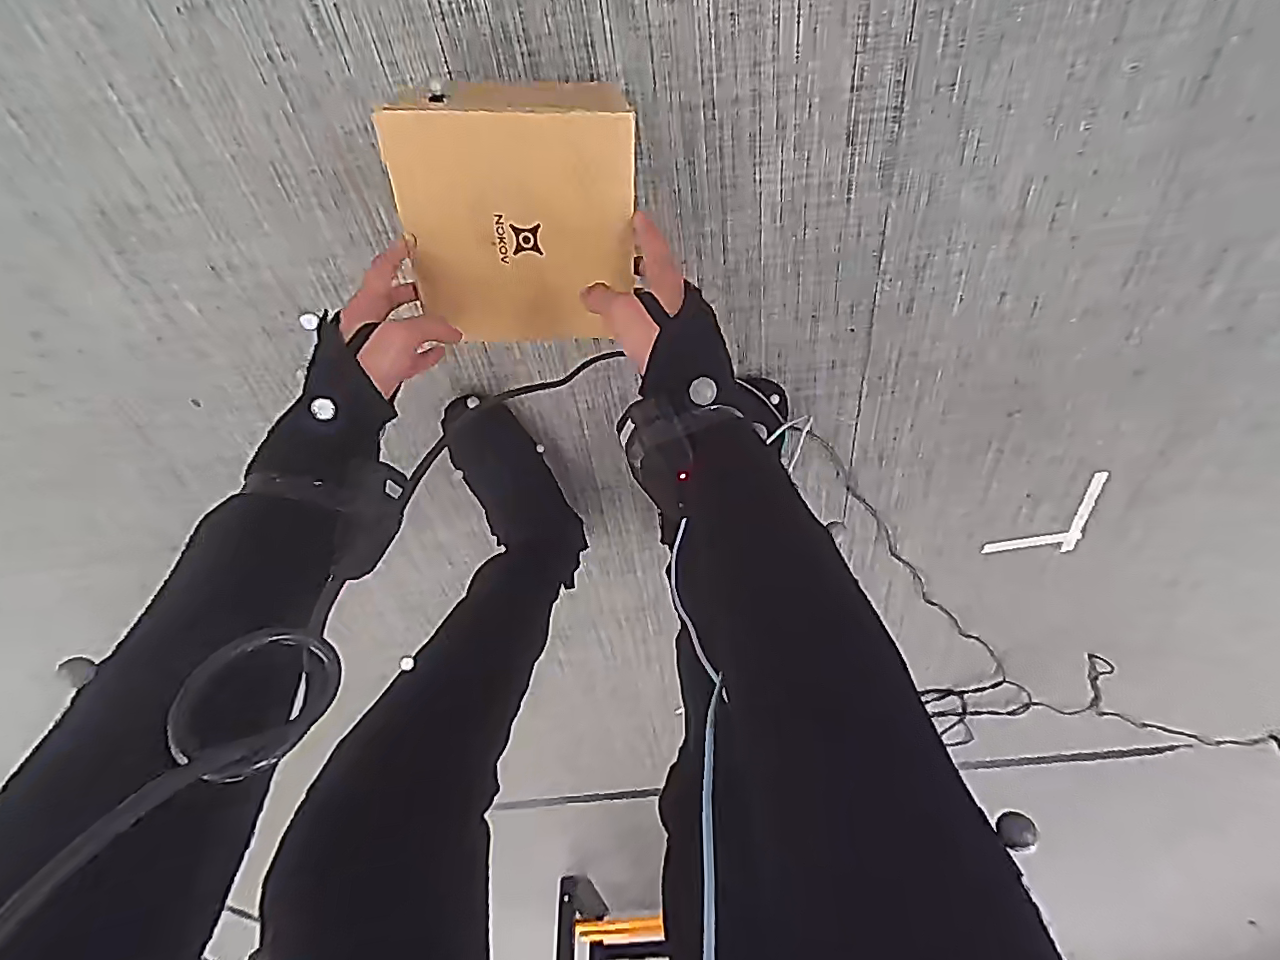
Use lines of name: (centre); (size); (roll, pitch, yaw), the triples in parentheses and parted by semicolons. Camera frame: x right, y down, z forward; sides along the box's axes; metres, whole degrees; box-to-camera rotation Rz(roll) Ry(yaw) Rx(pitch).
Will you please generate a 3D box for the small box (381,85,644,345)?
small box: (-0.092, -0.232, 0.469); (0.179, 0.176, 0.168); (-2, 132, -3)
